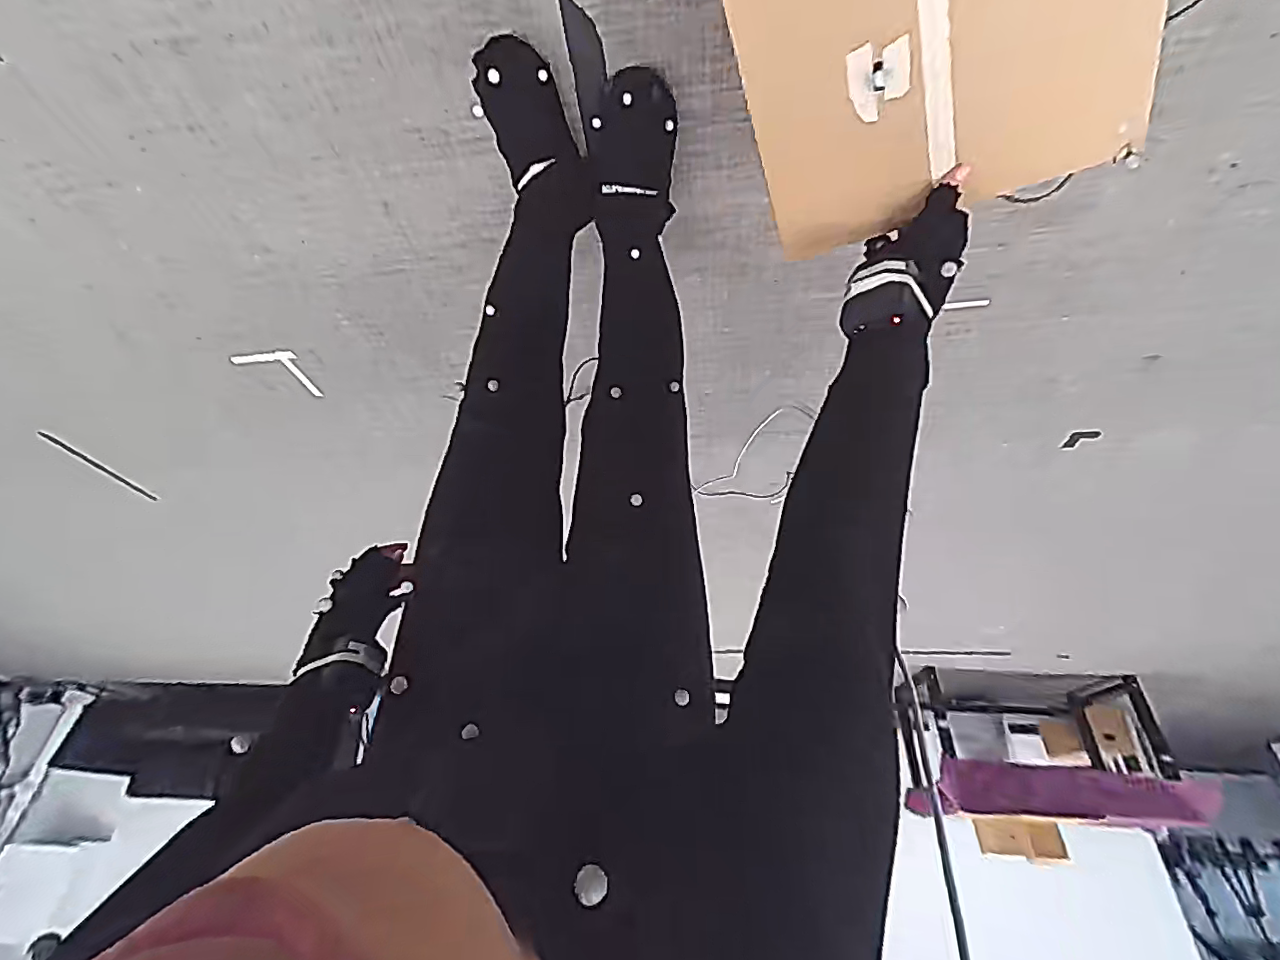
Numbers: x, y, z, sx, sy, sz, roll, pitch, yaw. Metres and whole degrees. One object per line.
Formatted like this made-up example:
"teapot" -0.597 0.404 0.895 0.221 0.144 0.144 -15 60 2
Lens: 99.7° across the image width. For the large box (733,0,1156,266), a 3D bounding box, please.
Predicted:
"large box" 0.266 -0.510 0.546 0.320 0.320 0.408 -10 132 22
